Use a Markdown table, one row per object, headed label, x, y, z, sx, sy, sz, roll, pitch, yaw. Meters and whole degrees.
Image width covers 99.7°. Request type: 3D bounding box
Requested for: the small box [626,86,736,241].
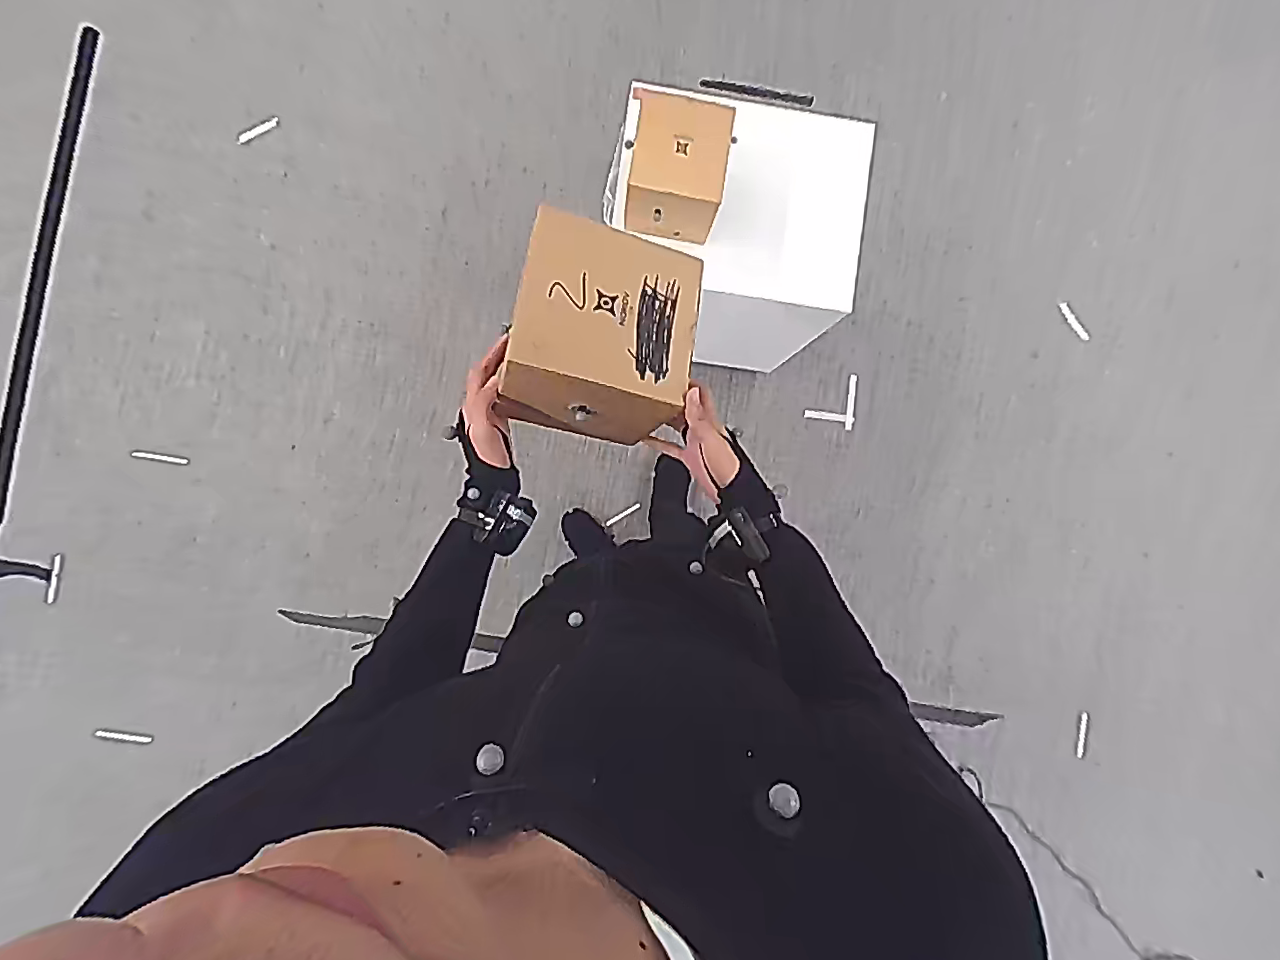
| label | x | y | z | sx | sy | sz | roll | pitch | yaw |
| --- | --- | --- | --- | --- | --- | --- | --- | --- | --- |
| small box | 0.067 | -0.570 | 0.998 | 0.168 | 0.176 | 0.179 | 9 | 88 | -3 |
